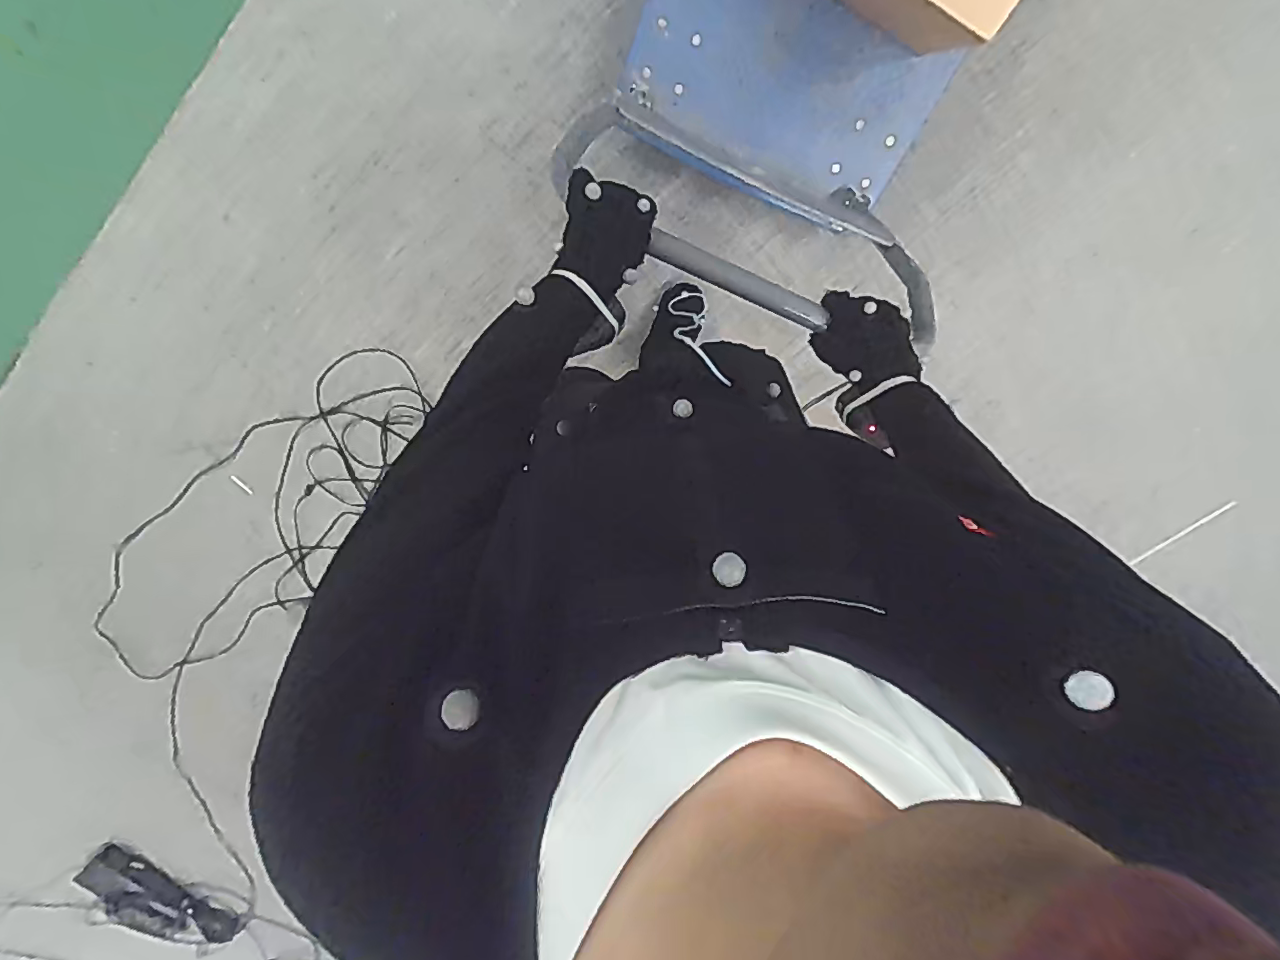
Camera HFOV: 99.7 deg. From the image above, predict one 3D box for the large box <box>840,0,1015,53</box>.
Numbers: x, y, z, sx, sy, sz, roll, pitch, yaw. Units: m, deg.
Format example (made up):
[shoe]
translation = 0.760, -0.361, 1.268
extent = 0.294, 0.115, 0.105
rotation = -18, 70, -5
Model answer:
[large box]
translation = 0.387, -0.874, 0.751
extent = 0.408, 0.320, 0.320
rotation = 26, 125, -9
